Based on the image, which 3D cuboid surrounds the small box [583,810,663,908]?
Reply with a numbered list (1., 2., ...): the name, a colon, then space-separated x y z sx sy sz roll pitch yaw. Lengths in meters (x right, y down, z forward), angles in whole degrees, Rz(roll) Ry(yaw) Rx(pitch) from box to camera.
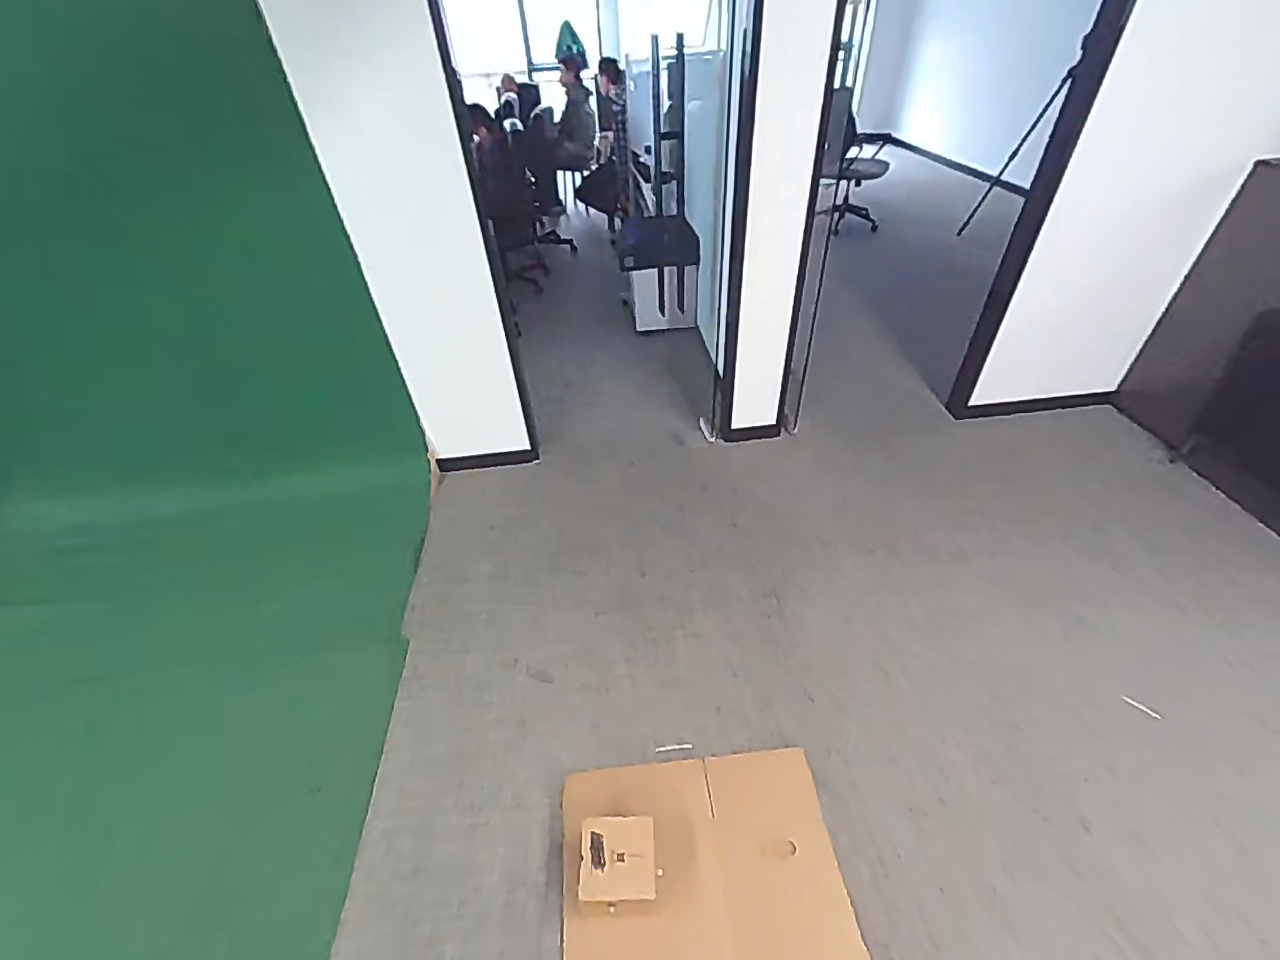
1. small box: -0.036 0.924 1.316 0.179 0.176 0.168 -2 42 2
